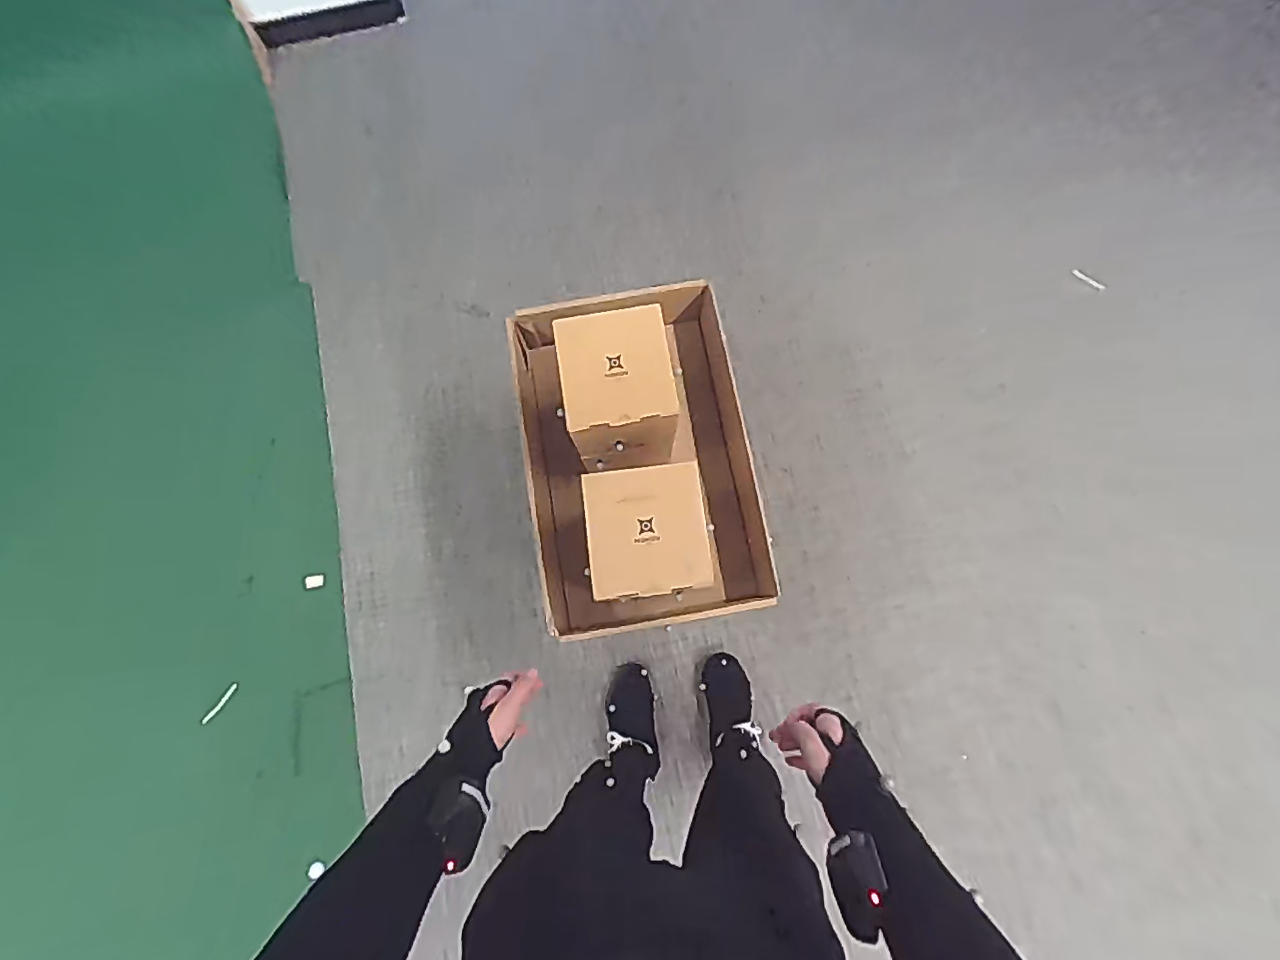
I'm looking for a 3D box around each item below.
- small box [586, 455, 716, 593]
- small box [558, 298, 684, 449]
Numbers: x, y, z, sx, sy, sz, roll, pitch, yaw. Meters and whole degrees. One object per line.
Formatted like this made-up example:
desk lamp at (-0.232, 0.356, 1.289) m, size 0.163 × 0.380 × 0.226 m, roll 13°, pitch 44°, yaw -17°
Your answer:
small box at (0.015, 0.073, 0.816) m, size 0.168 × 0.176 × 0.179 m, roll -7°, pitch 78°, yaw -1°
small box at (-0.031, -0.163, 0.868) m, size 0.168 × 0.176 × 0.179 m, roll -9°, pitch 81°, yaw -2°
